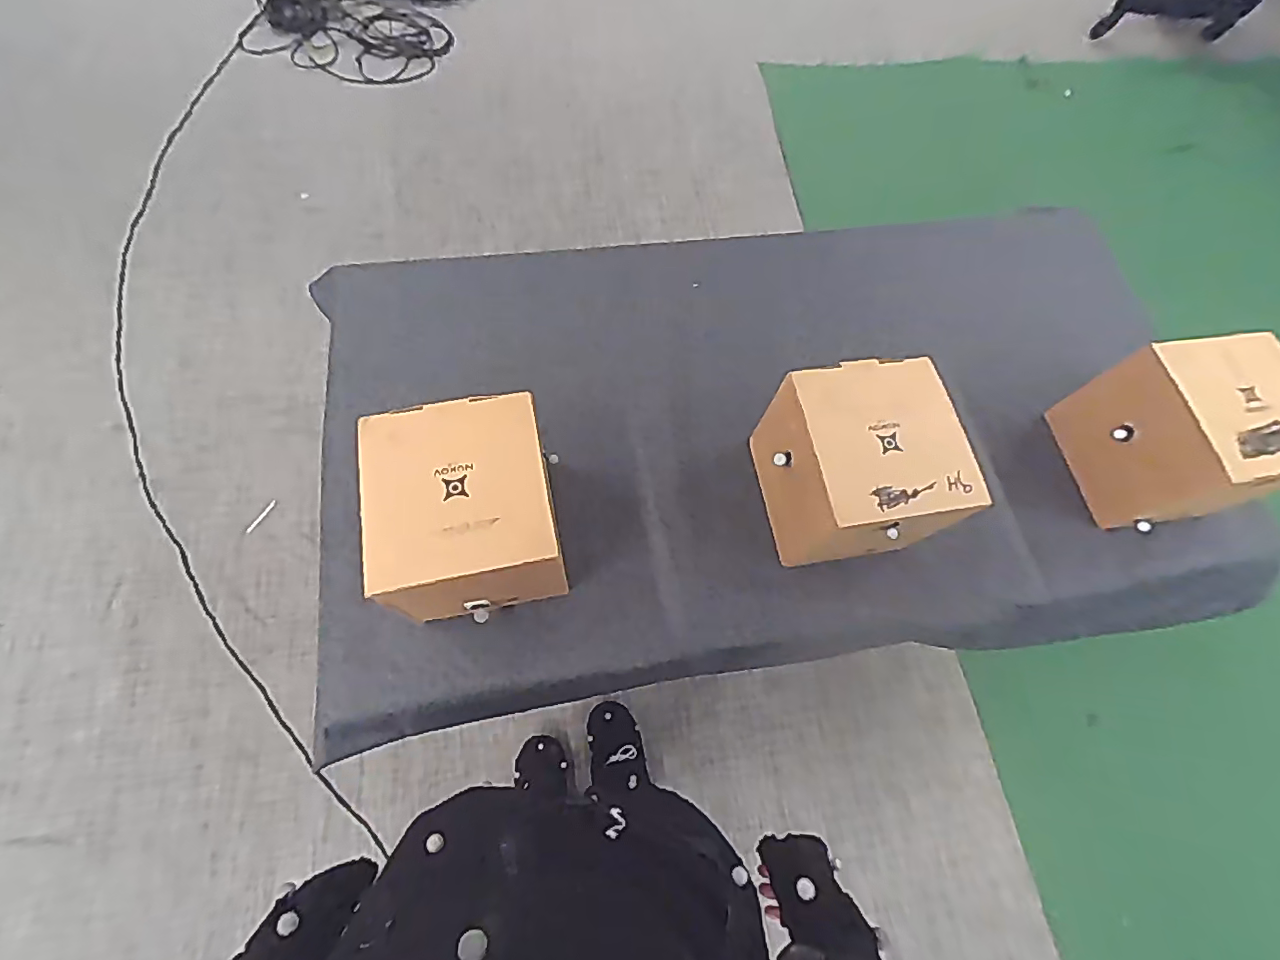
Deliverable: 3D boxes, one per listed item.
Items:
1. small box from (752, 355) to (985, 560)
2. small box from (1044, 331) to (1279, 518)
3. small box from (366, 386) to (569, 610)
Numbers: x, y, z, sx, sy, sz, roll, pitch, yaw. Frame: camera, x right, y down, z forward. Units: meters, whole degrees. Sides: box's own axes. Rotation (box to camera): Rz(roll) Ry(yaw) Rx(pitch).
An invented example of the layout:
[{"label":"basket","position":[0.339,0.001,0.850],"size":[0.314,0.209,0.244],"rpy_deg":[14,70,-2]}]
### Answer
[{"label":"small box","position":[0.243,-0.020,0.629],"size":[0.168,0.176,0.179],"rpy_deg":[-7,69,-7]},{"label":"small box","position":[0.666,-0.058,0.675],"size":[0.168,0.176,0.179],"rpy_deg":[-6,68,-6]},{"label":"small box","position":[-0.173,0.027,0.575],"size":[0.168,0.176,0.179],"rpy_deg":[-11,70,-8]}]
